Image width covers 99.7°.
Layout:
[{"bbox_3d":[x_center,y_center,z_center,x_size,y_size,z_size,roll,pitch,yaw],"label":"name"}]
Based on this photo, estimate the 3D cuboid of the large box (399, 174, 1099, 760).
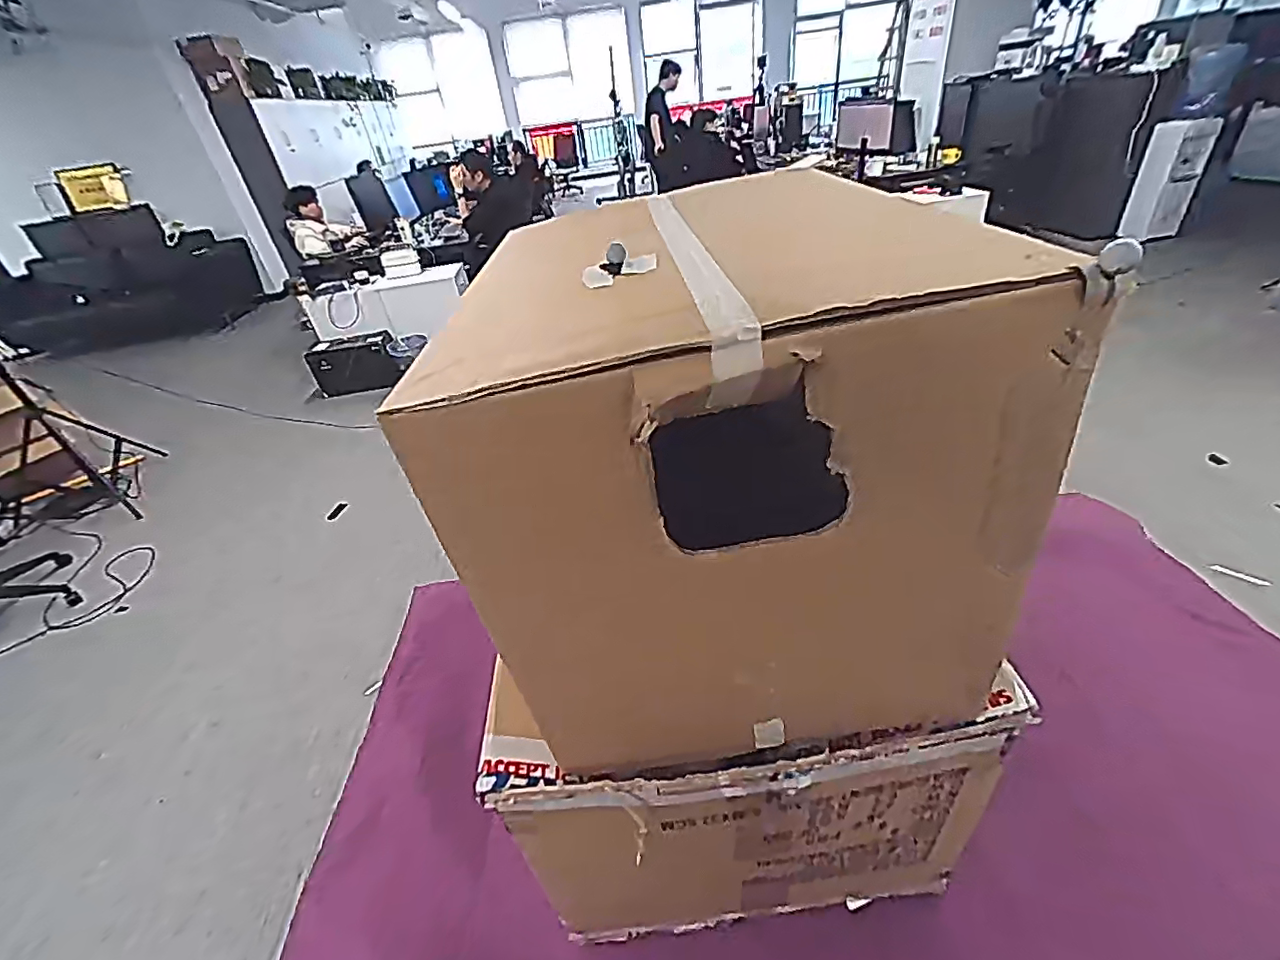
[{"bbox_3d":[0.052,-0.046,0.475,0.320,0.320,0.408,-12,35,3],"label":"large box"}]
